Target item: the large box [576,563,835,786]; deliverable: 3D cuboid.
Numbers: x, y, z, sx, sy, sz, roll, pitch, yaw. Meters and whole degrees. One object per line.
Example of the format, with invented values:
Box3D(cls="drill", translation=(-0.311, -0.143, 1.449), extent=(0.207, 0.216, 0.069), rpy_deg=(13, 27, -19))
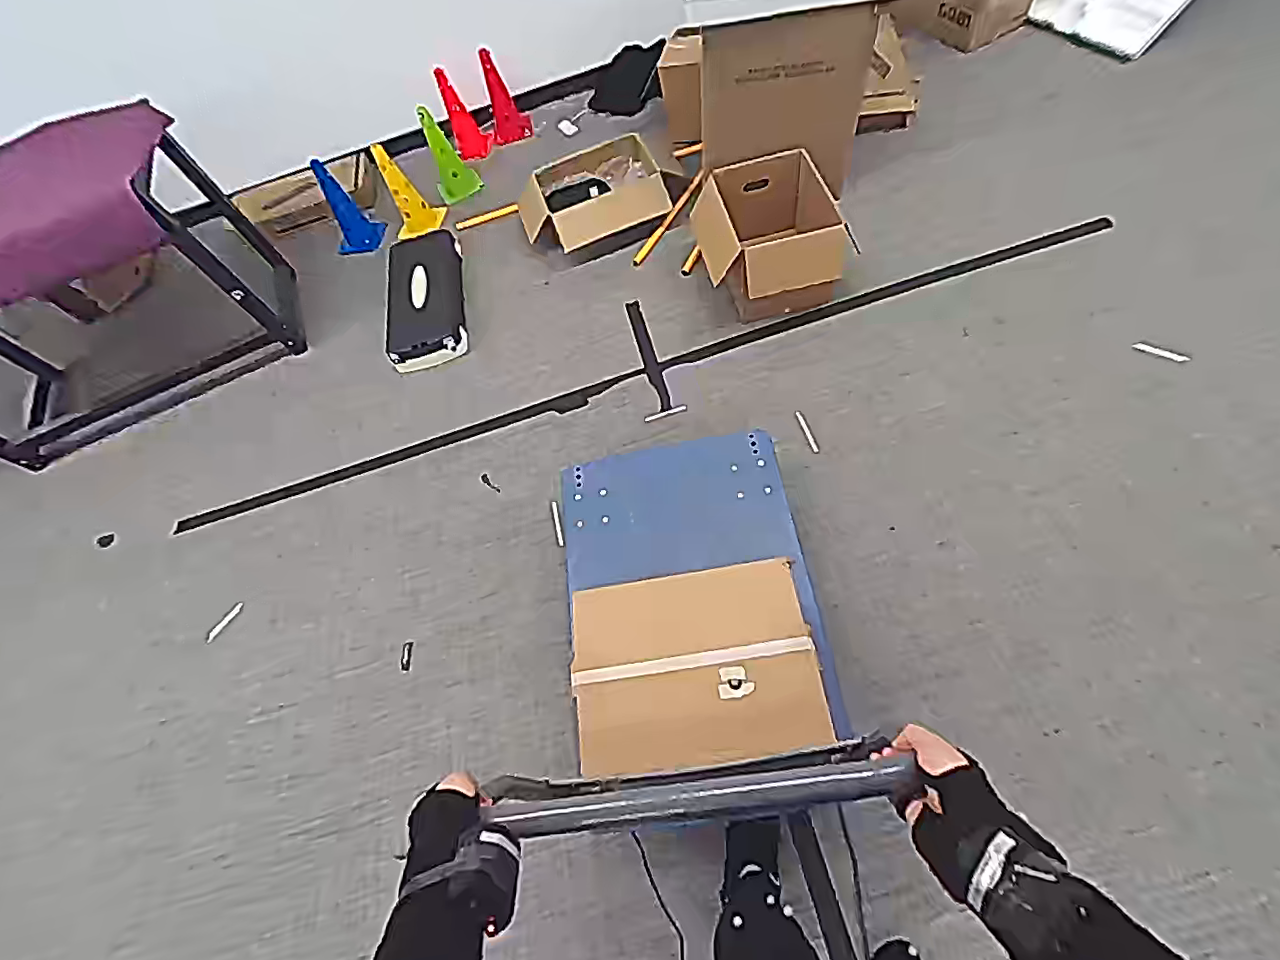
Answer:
Box3D(cls="large box", translation=(0.114, 0.391, 1.048), extent=(0.408, 0.320, 0.320), rpy_deg=(-10, 60, 5))
